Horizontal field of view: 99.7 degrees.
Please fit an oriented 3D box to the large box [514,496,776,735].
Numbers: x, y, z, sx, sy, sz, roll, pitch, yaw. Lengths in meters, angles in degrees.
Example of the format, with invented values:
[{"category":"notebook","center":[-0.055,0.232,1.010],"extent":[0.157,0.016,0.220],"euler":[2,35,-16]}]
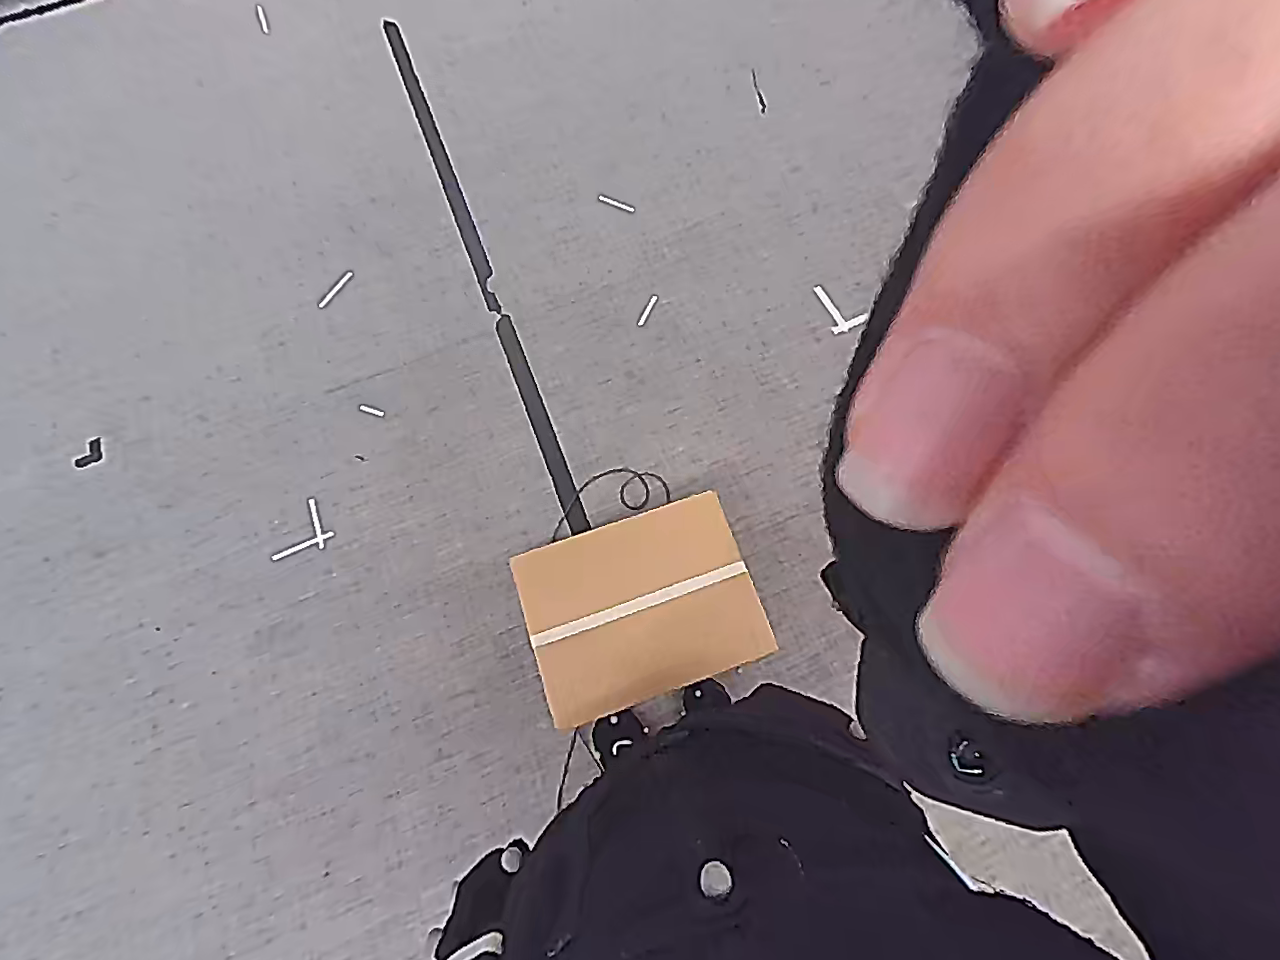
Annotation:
[{"category":"large box","center":[0.006,0.273,1.107],"extent":[0.408,0.320,0.320],"euler":[-18,72,-6]}]
